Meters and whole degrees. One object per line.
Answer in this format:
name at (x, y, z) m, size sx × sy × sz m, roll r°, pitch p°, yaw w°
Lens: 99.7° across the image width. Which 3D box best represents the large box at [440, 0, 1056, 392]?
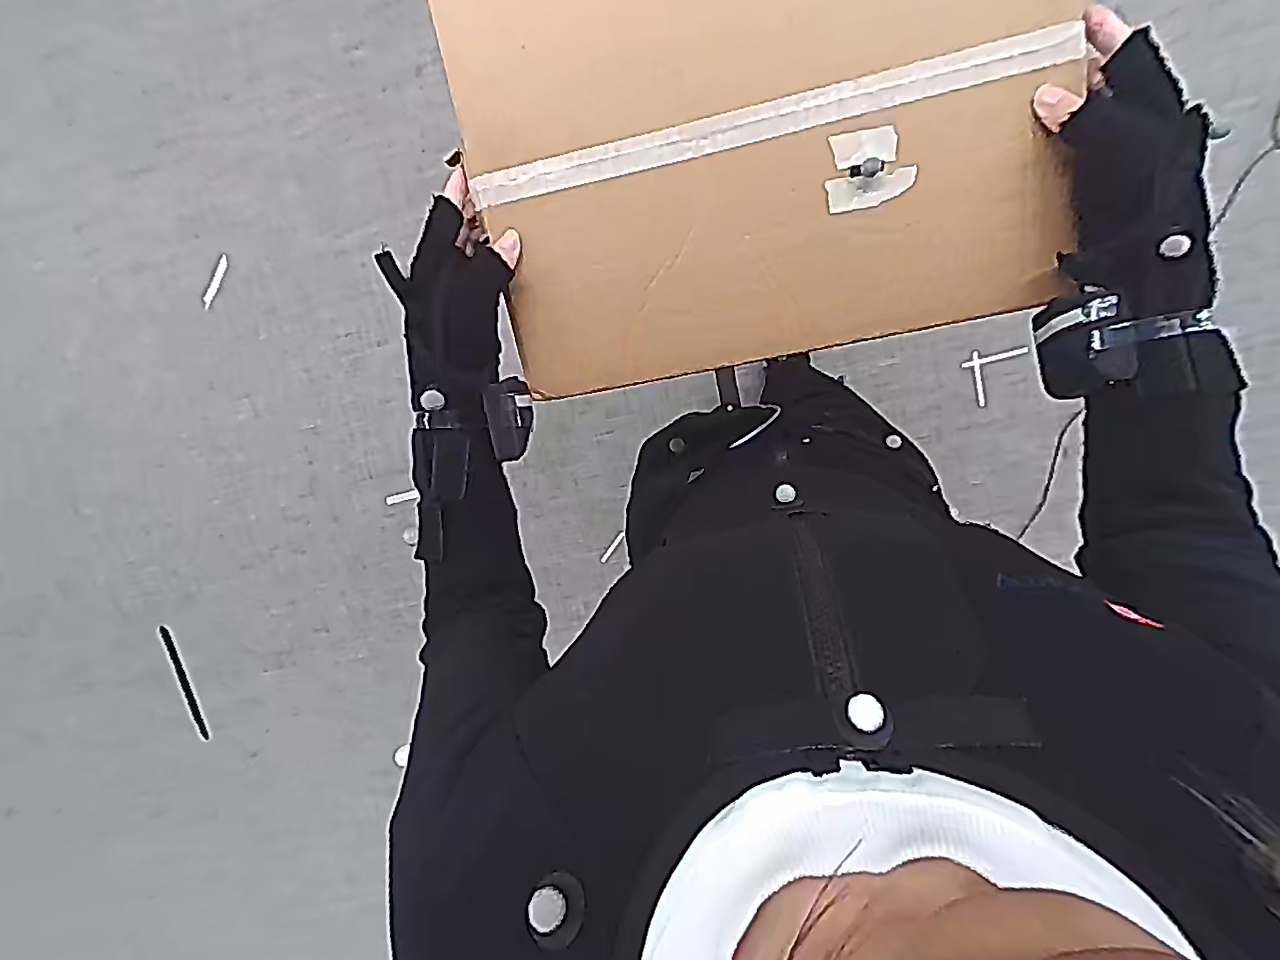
large box at (0.090, -0.292, 0.525) m, size 0.408 × 0.320 × 0.320 m, roll -10°, pitch 106°, yaw 7°
